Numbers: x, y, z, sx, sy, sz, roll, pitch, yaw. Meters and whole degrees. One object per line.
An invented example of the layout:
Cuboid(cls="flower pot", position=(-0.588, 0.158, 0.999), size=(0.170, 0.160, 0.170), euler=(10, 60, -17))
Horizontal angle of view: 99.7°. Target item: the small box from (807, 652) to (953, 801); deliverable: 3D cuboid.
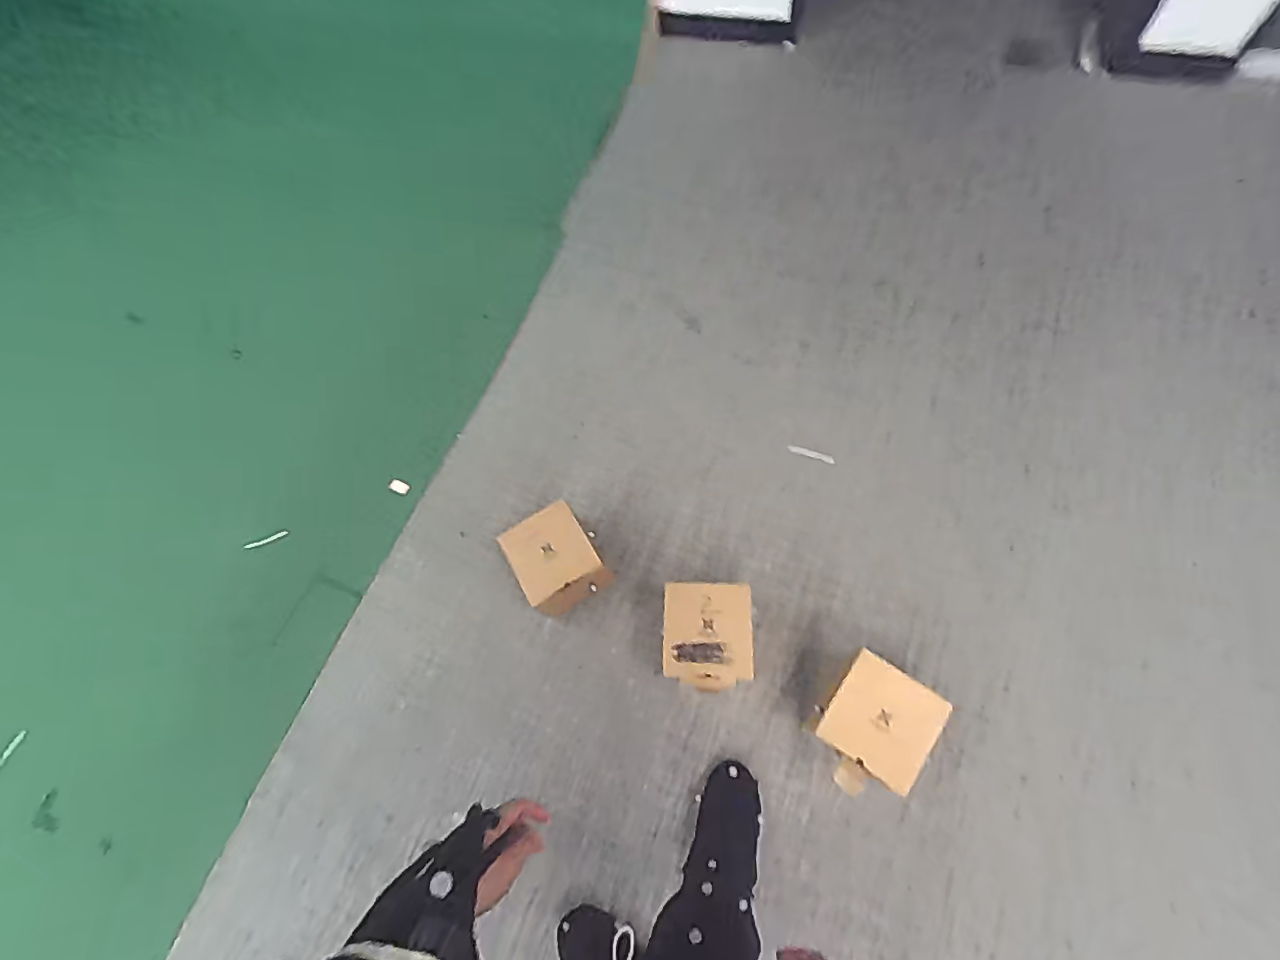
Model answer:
Cuboid(cls="small box", position=(0.425, 0.439, 0.988), size=(0.168, 0.176, 0.179), euler=(32, 77, 19))

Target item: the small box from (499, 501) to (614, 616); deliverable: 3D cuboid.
Cuboid(cls="small box", position=(-0.175, 0.180, 1.182), size=(0.168, 0.176, 0.179), euler=(-32, 66, -6))
